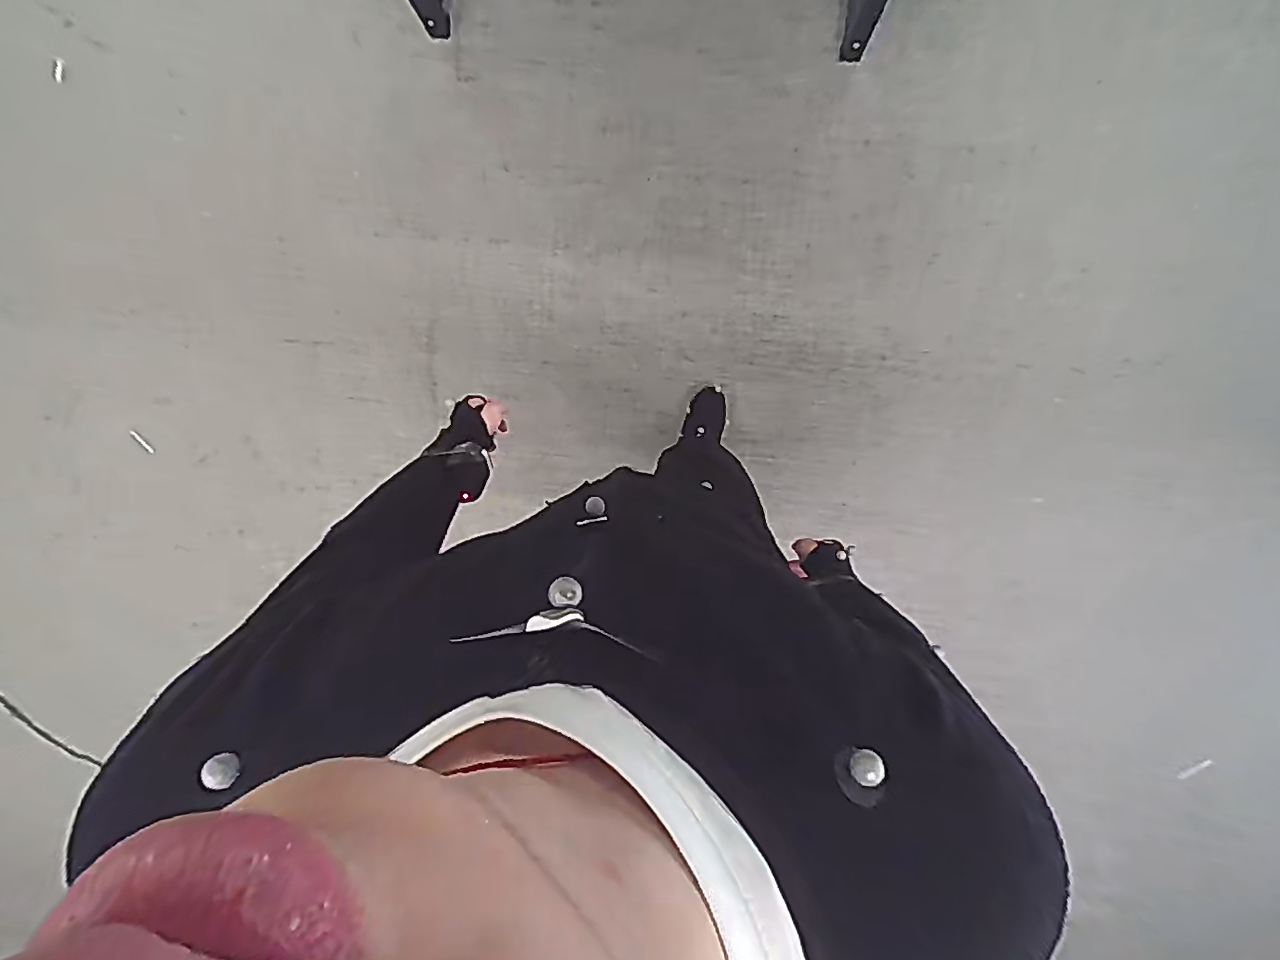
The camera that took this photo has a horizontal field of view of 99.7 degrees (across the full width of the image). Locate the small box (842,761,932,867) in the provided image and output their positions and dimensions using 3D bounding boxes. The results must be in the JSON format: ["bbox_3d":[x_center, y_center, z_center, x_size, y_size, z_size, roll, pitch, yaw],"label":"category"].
[{"bbox_3d":[0.676,0.920,1.500,0.168,0.176,0.179,7,94,2],"label":"small box"}]
